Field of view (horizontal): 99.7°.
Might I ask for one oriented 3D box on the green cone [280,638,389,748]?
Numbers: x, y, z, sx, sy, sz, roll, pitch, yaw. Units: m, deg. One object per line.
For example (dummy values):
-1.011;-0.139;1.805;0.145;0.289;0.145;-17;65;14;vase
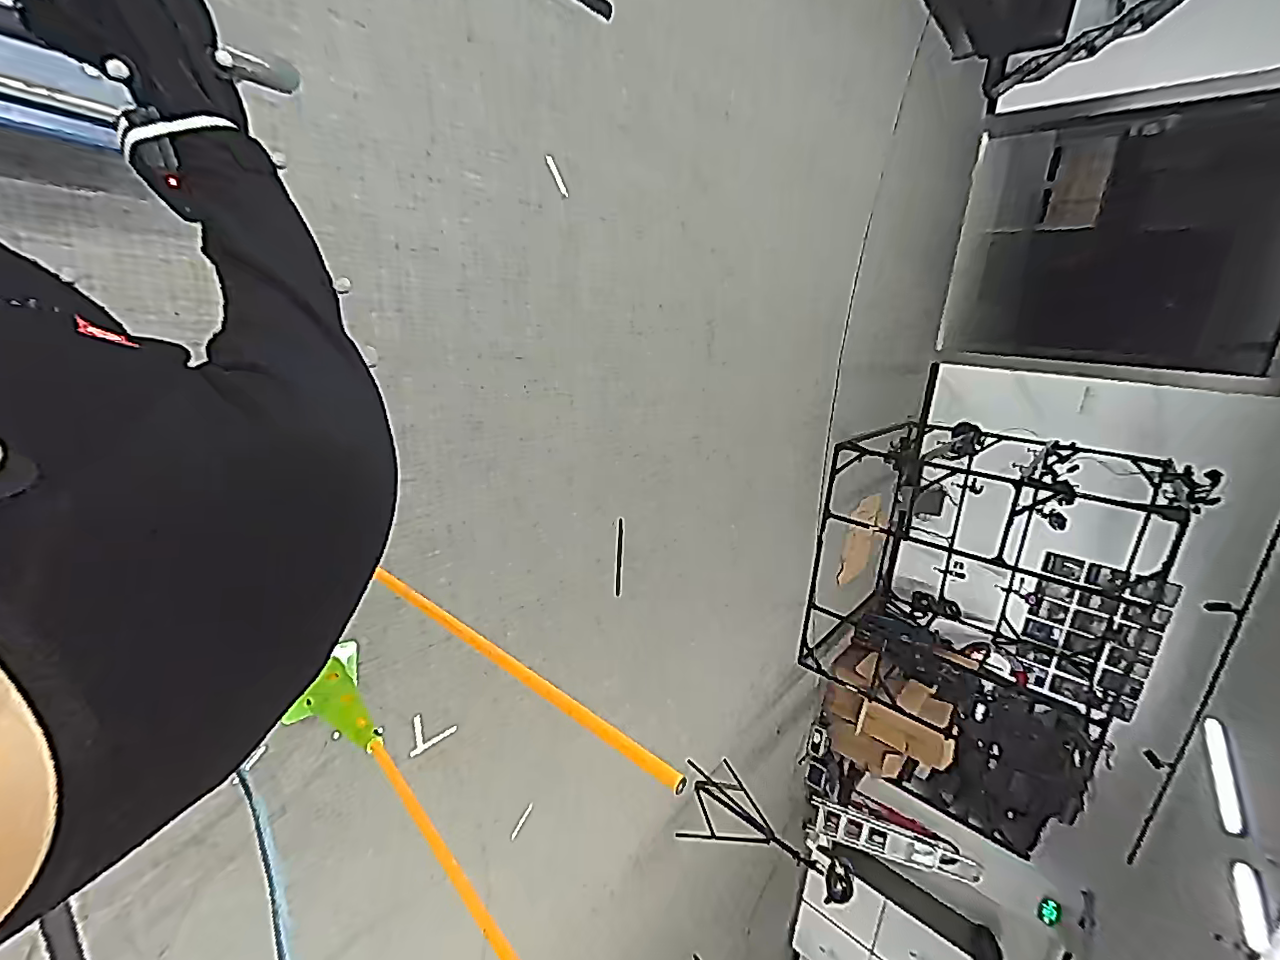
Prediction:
-0.779;0.607;1.440;0.202;0.368;0.200;-10;112;-50;green cone
